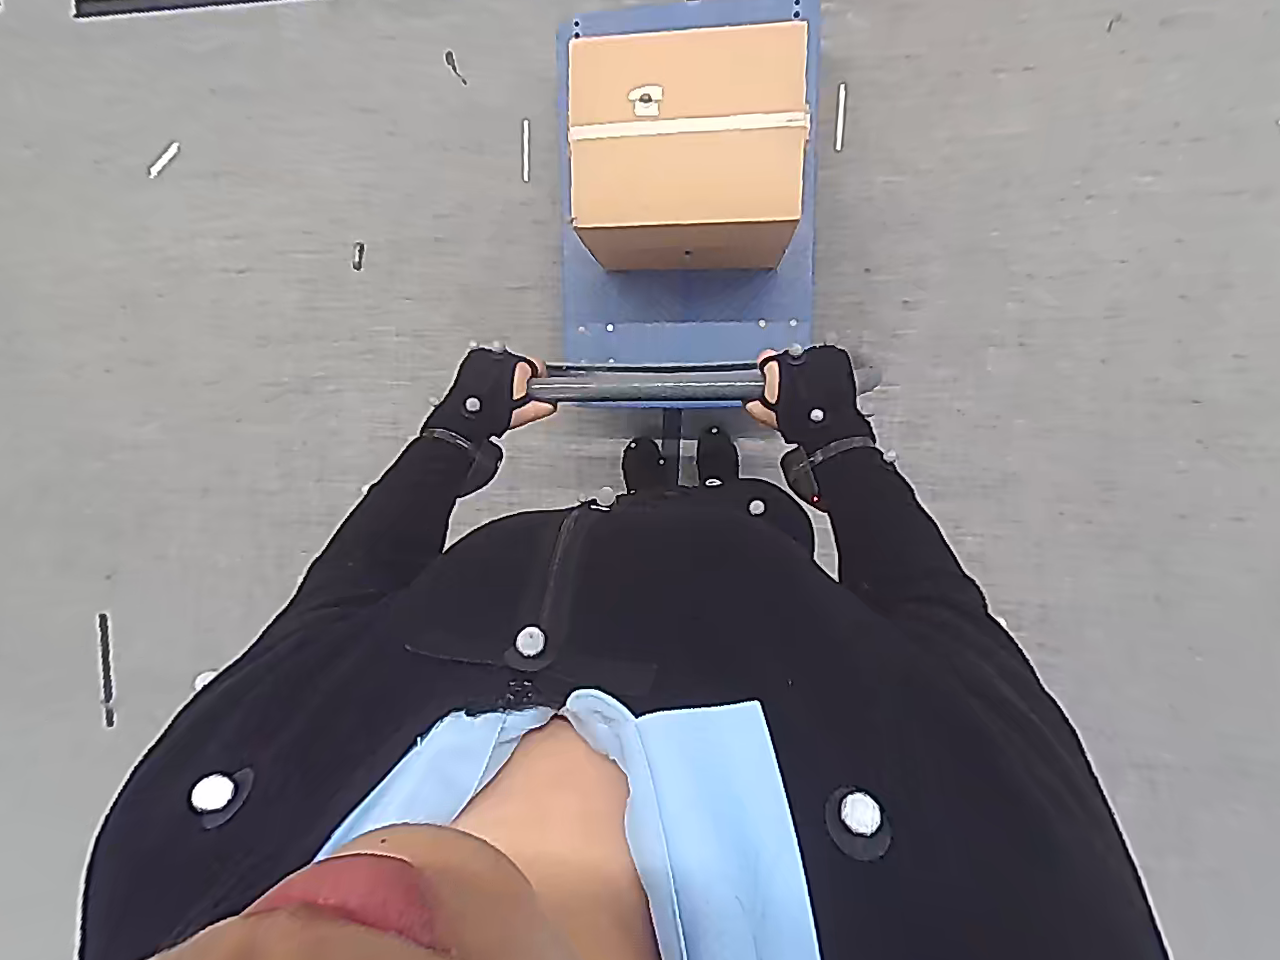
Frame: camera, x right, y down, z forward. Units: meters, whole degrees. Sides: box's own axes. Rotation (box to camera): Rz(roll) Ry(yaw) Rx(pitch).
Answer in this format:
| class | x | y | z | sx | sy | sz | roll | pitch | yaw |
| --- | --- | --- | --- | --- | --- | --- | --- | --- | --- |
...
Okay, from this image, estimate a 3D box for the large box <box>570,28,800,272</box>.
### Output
| class | x | y | z | sx | sy | sz | roll | pitch | yaw |
| --- | --- | --- | --- | --- | --- | --- | --- | --- | --- |
| large box | 0.096 | -0.623 | 1.093 | 0.408 | 0.320 | 0.320 | 1 | 96 | 8 |
